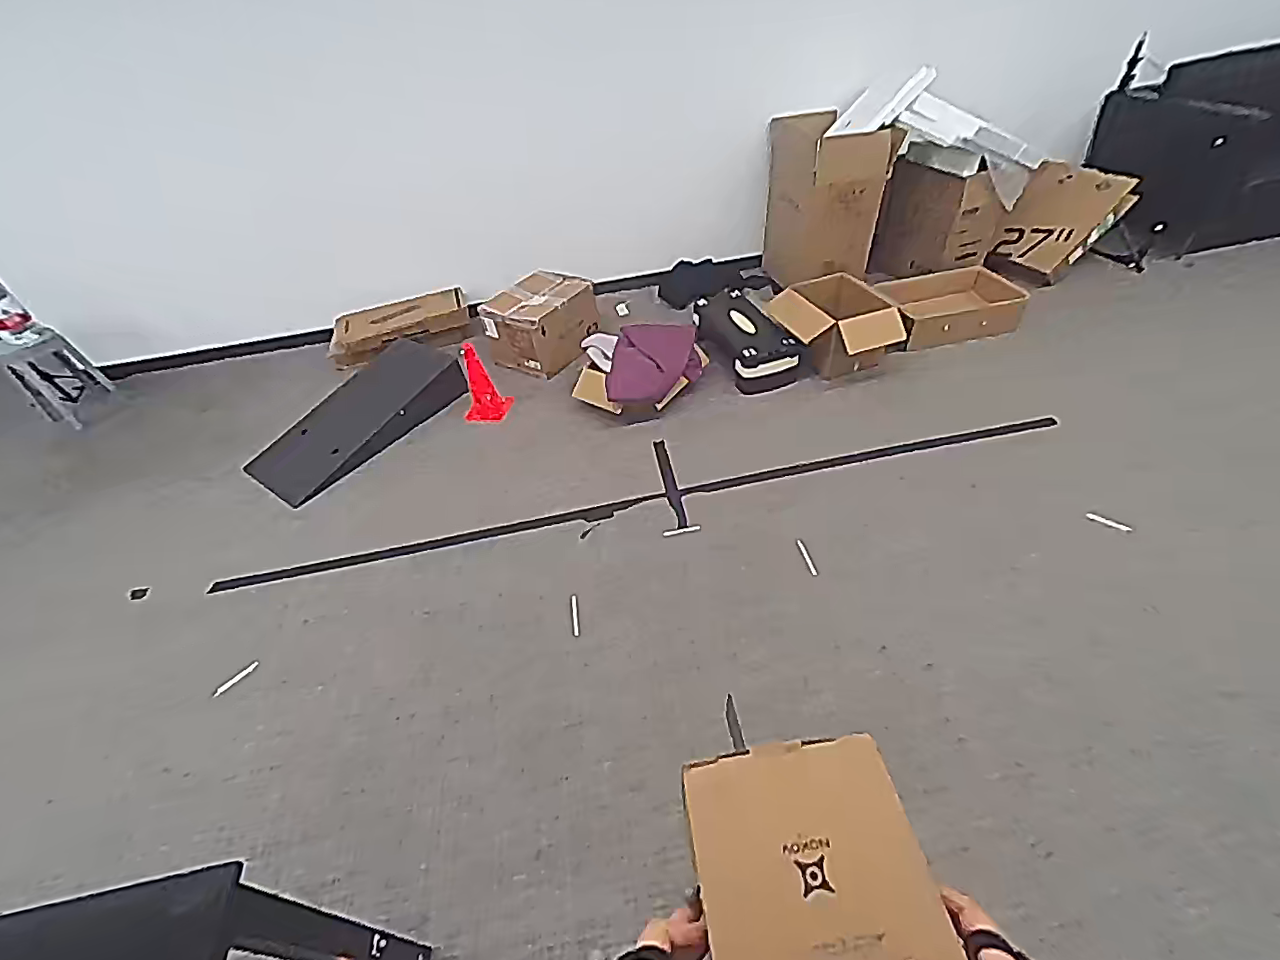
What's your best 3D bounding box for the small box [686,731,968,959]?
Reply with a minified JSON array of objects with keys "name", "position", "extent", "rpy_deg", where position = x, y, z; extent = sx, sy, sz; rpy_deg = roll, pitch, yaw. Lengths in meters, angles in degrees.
[{"name":"small box","position":[0.132,0.338,0.447],"extent":[0.168,0.176,0.179],"rpy_deg":[-9,44,-1]}]
